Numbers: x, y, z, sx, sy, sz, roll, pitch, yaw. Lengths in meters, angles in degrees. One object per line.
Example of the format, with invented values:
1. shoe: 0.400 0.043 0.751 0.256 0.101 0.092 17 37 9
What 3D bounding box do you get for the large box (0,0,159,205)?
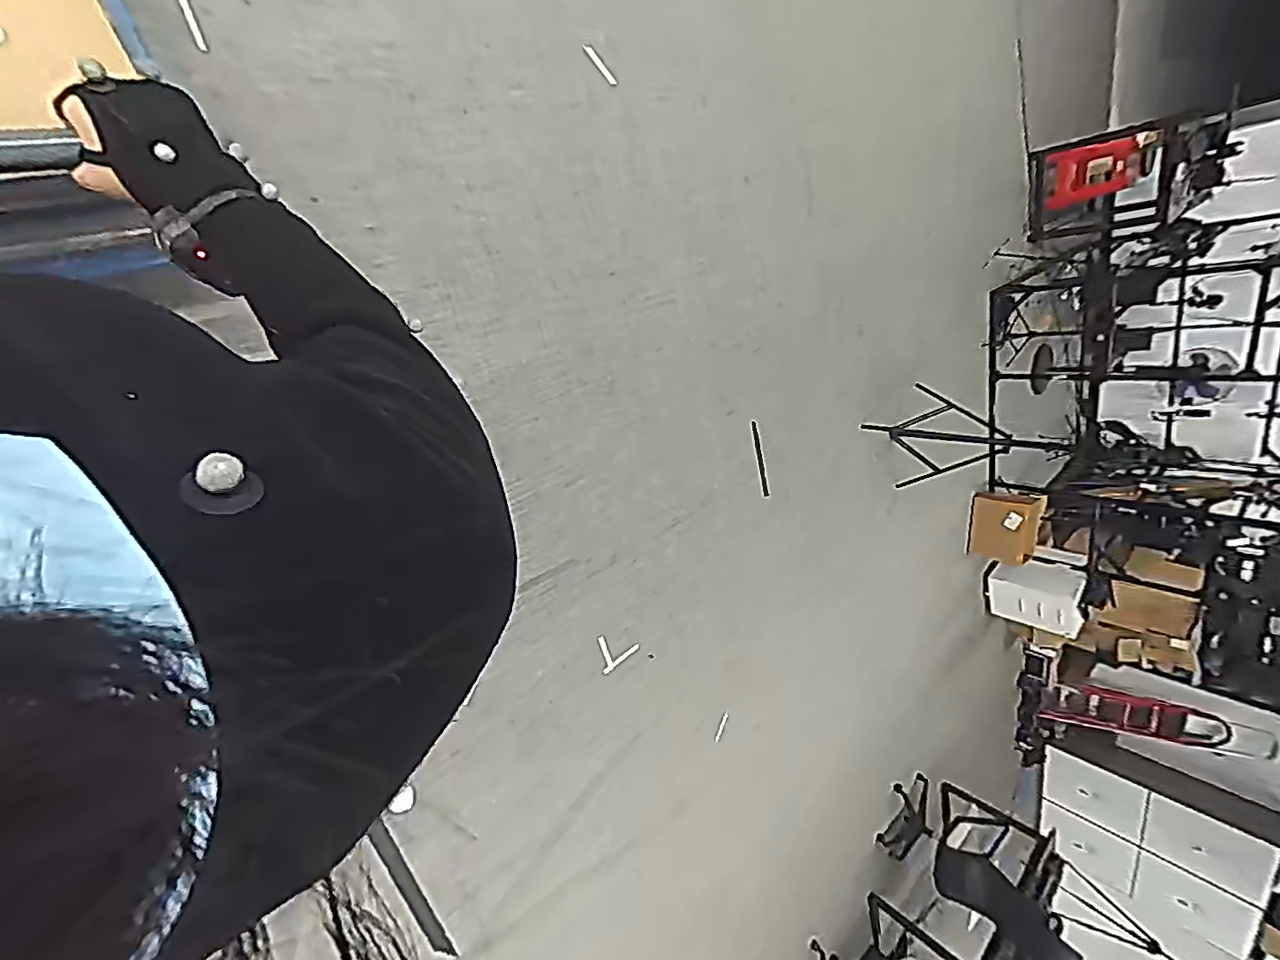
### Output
1. large box: -0.937 -0.552 0.684 0.408 0.320 0.320 -33 119 -32
